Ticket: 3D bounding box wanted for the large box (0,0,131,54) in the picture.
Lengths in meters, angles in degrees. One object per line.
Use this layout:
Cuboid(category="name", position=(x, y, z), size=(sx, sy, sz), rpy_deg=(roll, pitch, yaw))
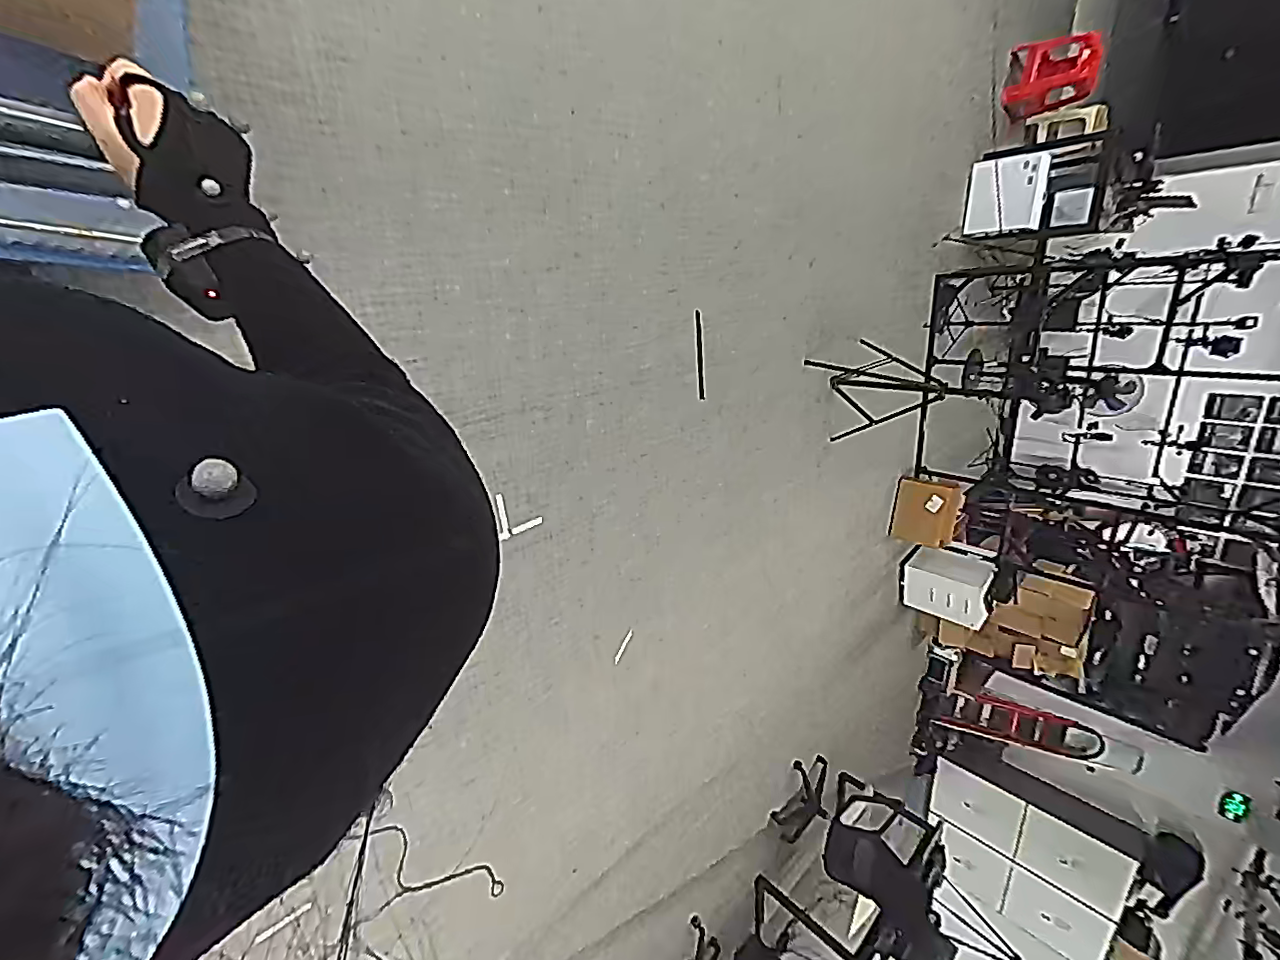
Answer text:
Cuboid(category="large box", position=(-0.874, -0.782, 0.614), size=(0.408, 0.320, 0.320), rpy_deg=(-7, 107, -42))
